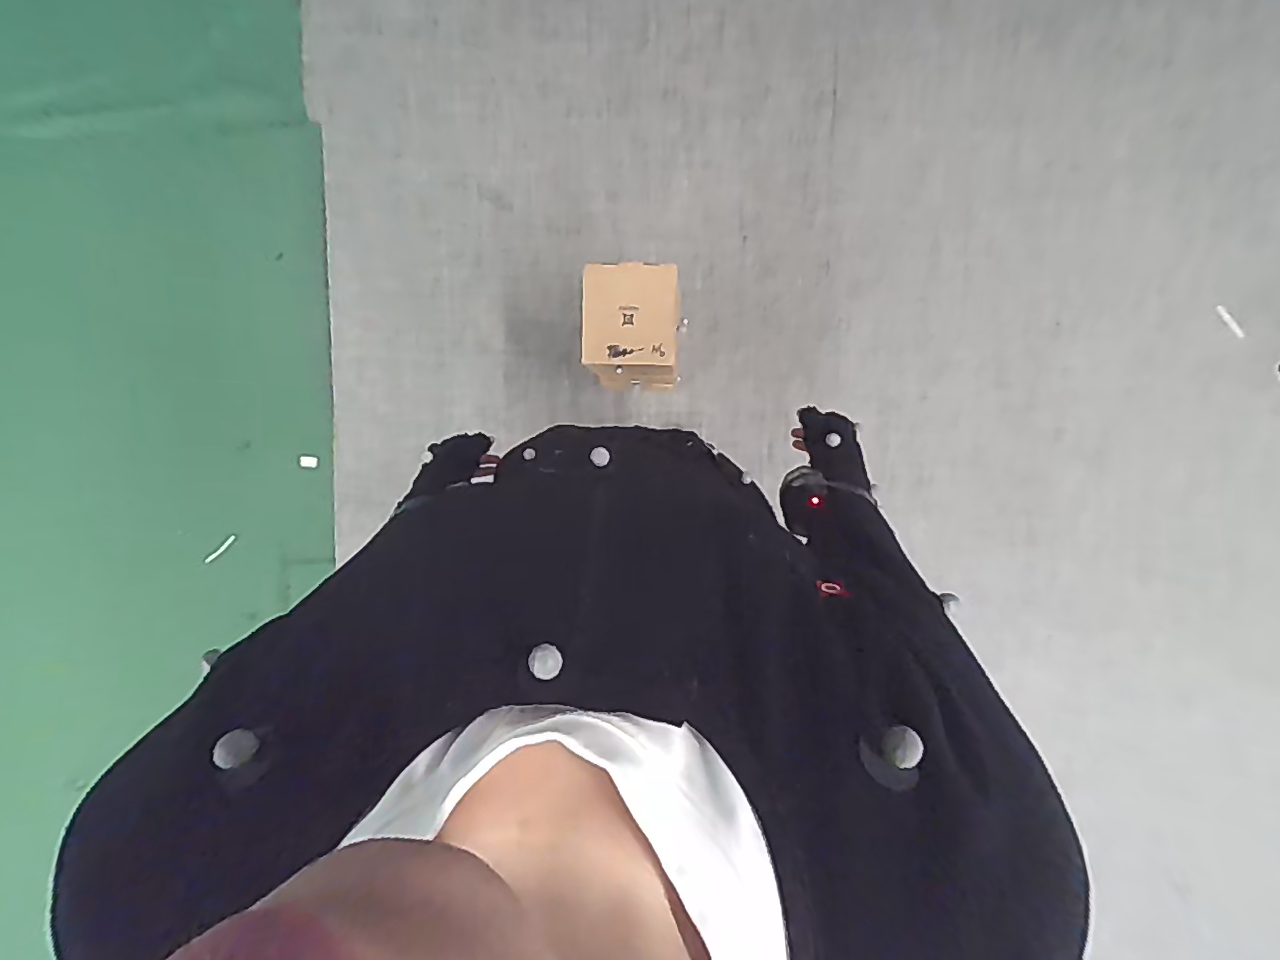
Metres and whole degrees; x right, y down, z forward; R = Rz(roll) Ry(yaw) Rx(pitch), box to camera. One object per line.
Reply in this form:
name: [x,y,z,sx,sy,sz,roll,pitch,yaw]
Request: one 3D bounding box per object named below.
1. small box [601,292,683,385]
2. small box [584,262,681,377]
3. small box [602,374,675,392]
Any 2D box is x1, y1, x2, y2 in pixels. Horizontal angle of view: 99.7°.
small box: [0.010,-0.307,1.191,0.168,0.176,0.179,2,95,5]
small box: [-0.009,-0.298,1.028,0.168,0.176,0.179,2,94,5]
small box: [0.006,-0.312,1.353,0.179,0.176,0.168,3,95,5]
